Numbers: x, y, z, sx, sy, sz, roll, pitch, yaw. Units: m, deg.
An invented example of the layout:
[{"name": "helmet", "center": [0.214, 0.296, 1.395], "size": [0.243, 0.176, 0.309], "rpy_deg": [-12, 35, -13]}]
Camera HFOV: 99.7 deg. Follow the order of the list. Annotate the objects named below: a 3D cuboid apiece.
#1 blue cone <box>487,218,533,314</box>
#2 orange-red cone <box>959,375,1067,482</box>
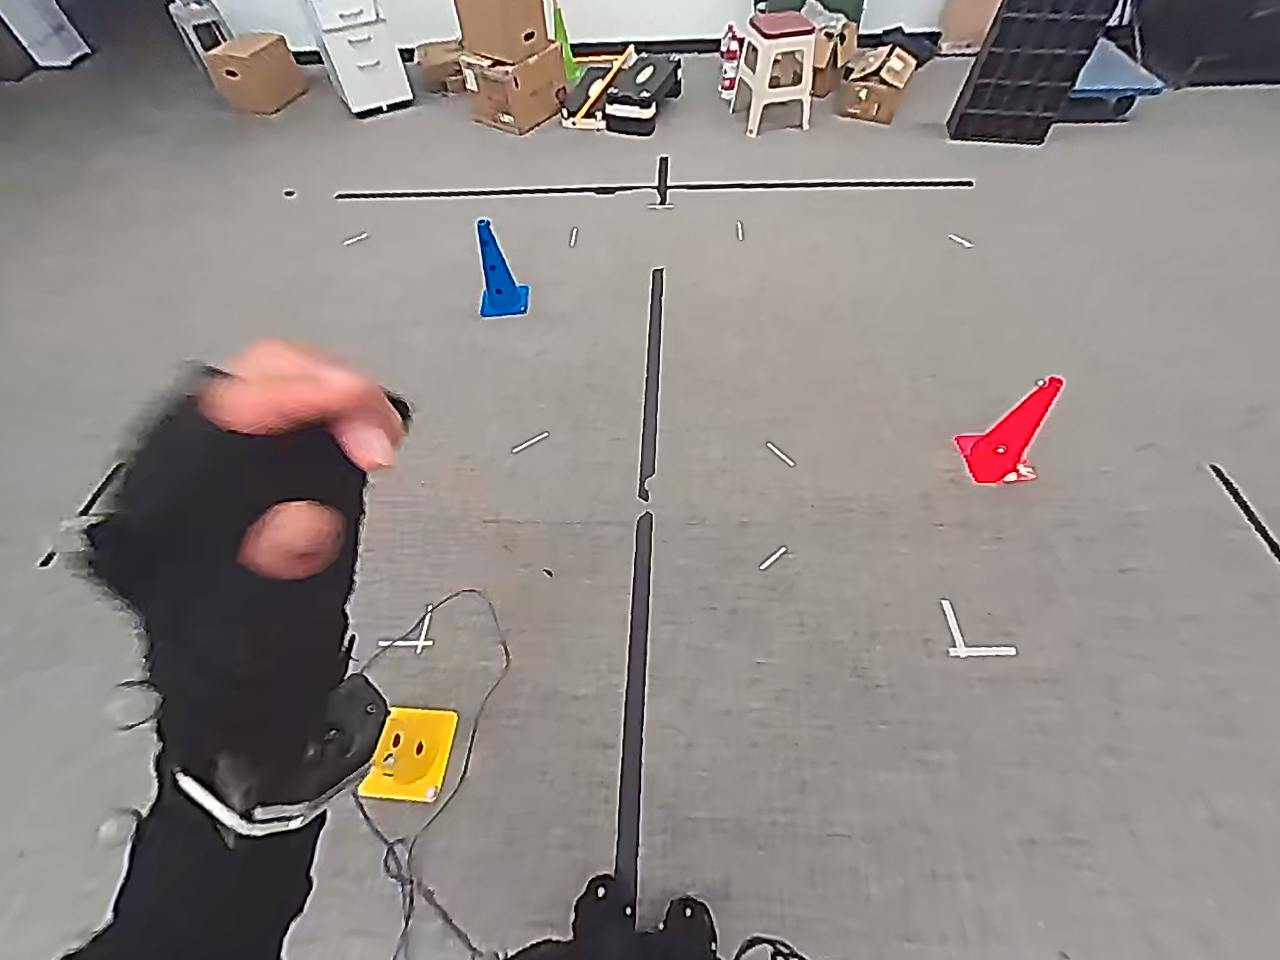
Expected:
[{"name": "blue cone", "center": [-0.569, -0.878, 2.208], "size": [0.192, 0.380, 0.193], "rpy_deg": [-3, 55, 0]}, {"name": "orange-red cone", "center": [1.167, -0.177, 1.636], "size": [0.198, 0.360, 0.199], "rpy_deg": [-2, 53, 0]}]
